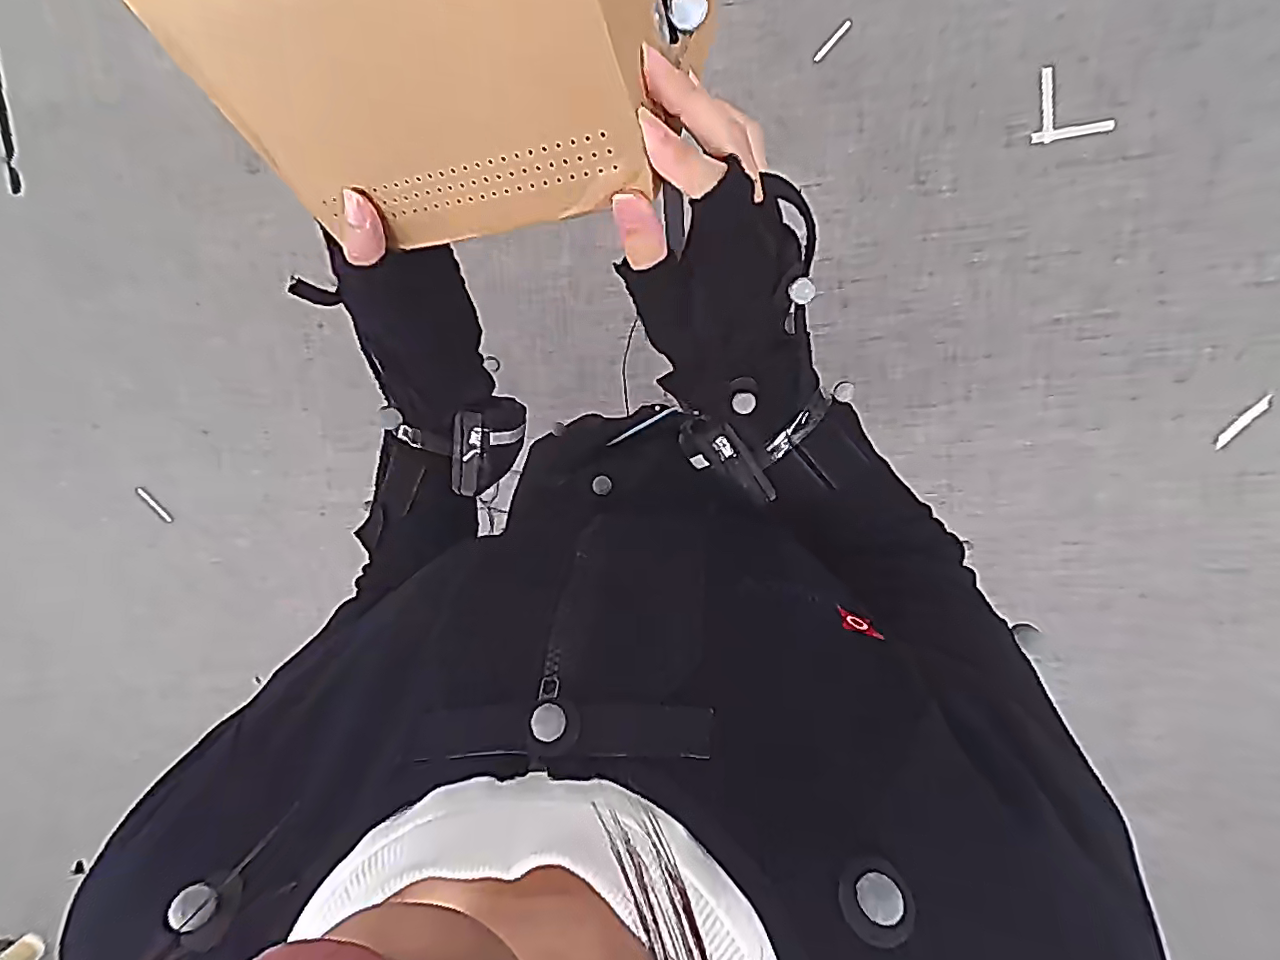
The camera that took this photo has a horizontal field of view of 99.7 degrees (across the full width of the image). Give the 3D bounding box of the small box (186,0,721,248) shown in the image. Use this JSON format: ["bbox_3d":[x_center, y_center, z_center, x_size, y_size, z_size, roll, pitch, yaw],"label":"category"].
[{"bbox_3d":[-0.076,-0.229,0.242,0.179,0.176,0.168,2,61,23],"label":"small box"}]
